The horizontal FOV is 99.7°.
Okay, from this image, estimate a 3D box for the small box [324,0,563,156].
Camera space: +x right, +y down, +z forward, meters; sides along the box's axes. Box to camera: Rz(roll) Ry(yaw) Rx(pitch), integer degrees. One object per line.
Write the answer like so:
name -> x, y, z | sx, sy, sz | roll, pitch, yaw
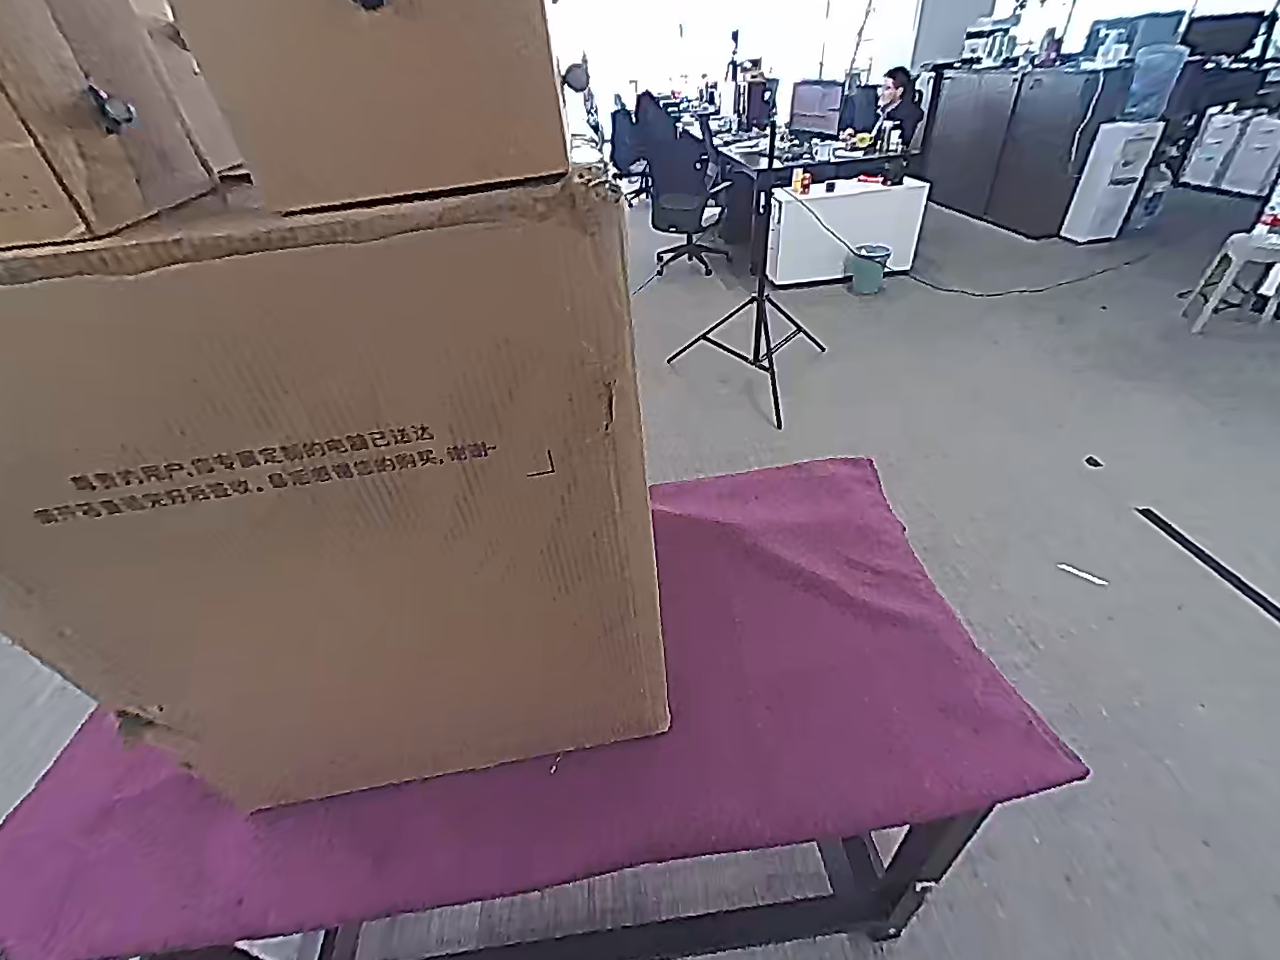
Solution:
small box -> -0.165, -0.396, 0.479 | 0.168, 0.176, 0.179 | -8, 38, -2
